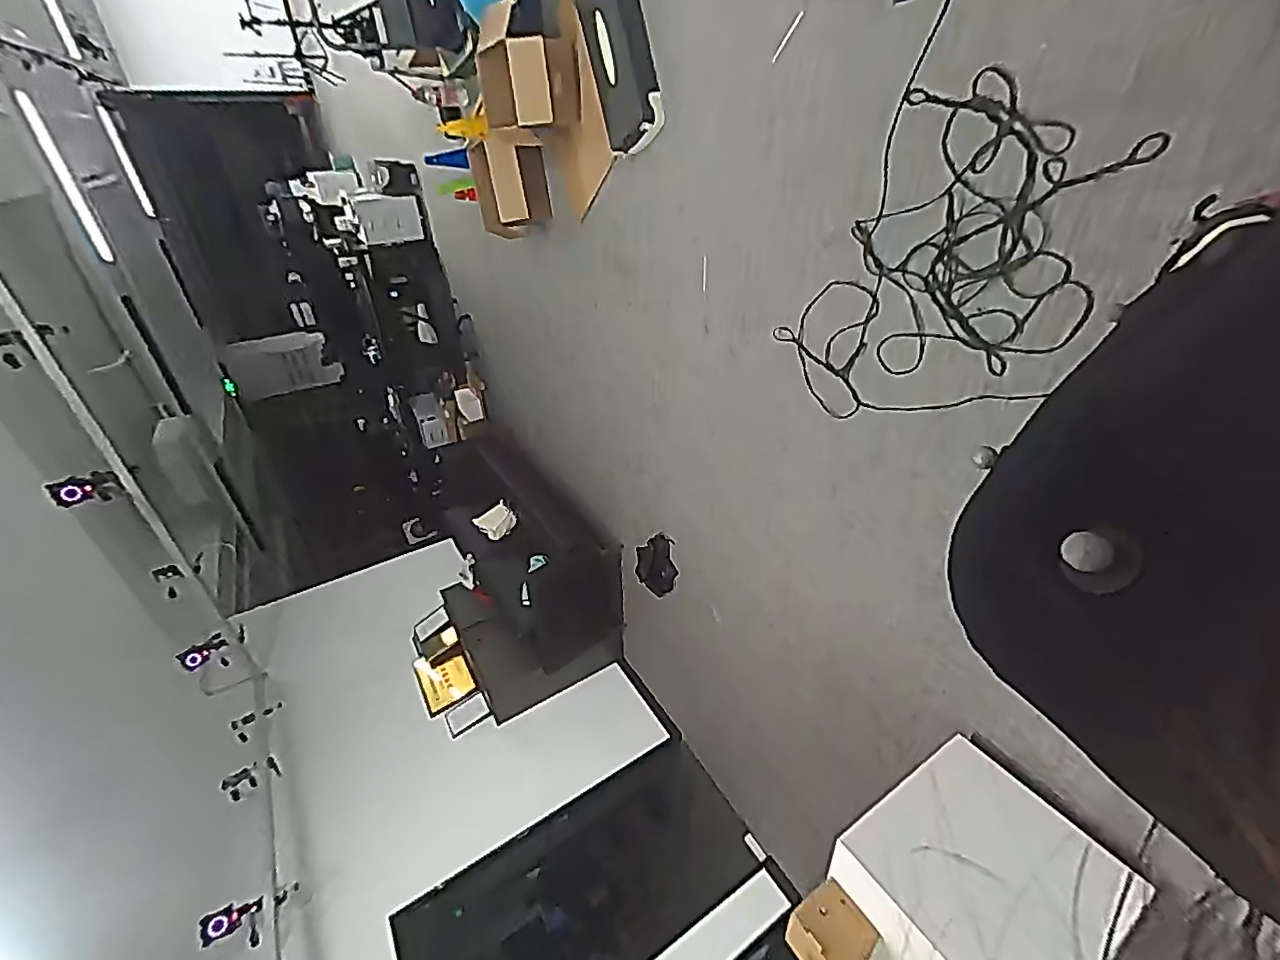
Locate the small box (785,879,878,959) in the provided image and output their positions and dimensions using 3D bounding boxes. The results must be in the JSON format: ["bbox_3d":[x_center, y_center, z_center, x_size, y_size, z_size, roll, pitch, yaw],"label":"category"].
[{"bbox_3d":[0.528,1.256,1.489,0.168,0.176,0.179,39,141,48],"label":"small box"}]
